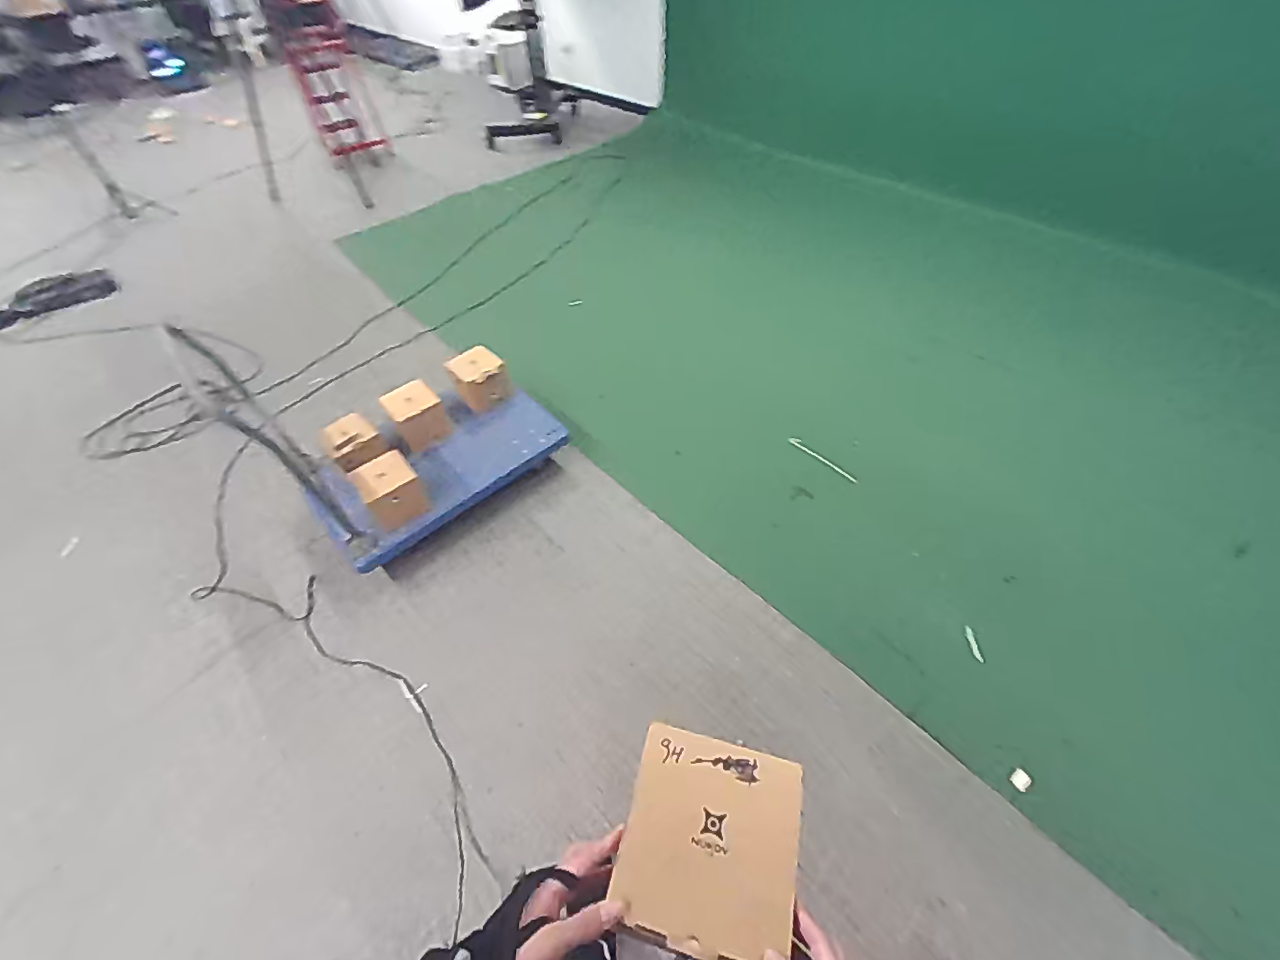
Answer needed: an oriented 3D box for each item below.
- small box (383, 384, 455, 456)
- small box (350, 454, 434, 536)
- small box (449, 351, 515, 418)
[{"bbox_3d":[-0.828,-0.223,2.033,0.168,0.176,0.179,-35,58,-24],"label":"small box"},{"bbox_3d":[-0.816,0.054,1.793,0.179,0.176,0.168,-33,56,-23],"label":"small box"},{"bbox_3d":[-0.624,-0.377,2.148,0.168,0.176,0.179,-37,57,-24],"label":"small box"}]
